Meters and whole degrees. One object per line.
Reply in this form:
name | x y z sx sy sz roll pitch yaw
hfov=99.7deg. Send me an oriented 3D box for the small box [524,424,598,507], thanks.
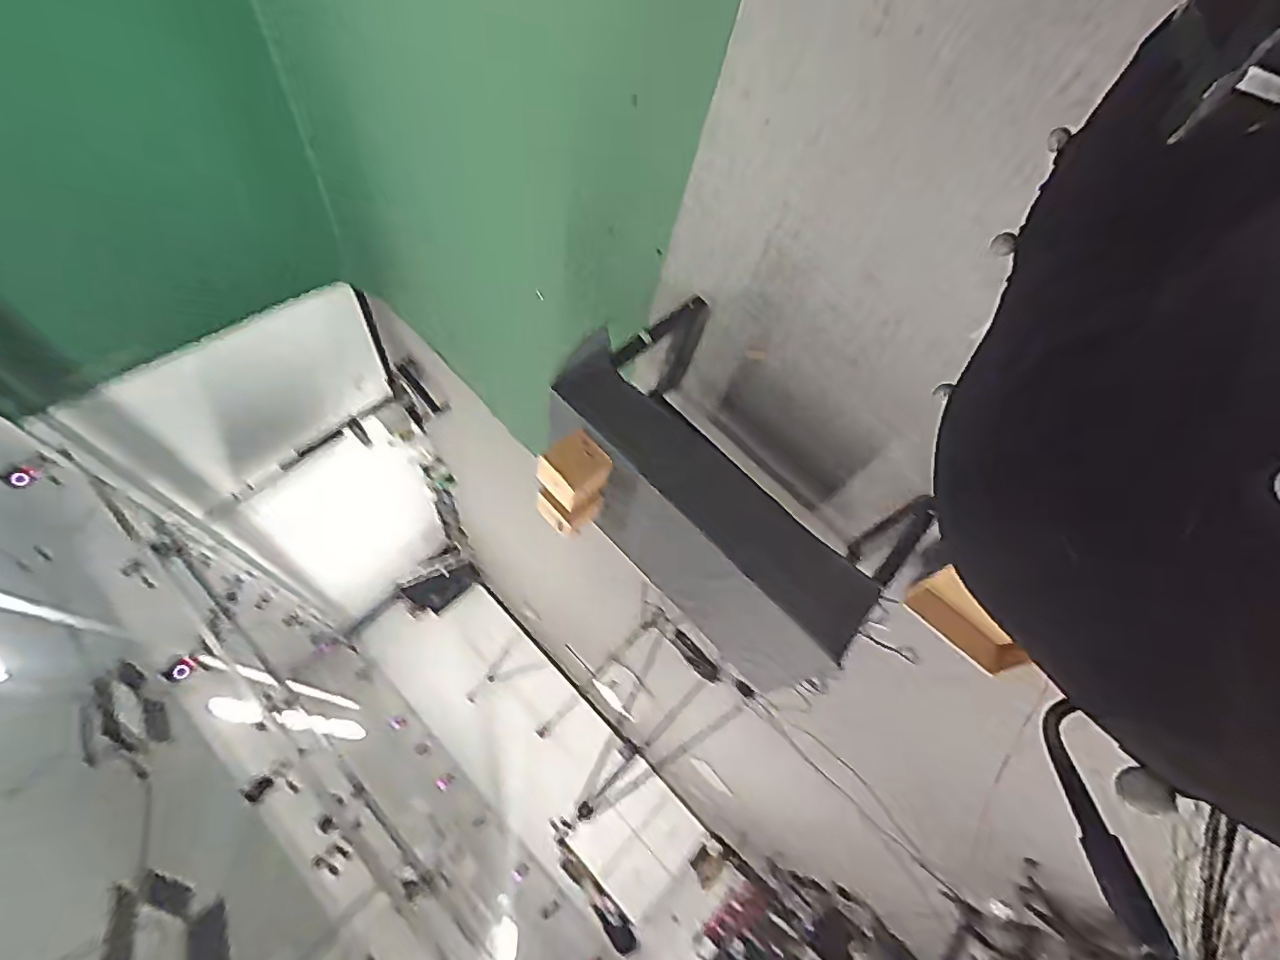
small box | -0.255 -0.047 1.757 0.168 0.176 0.179 45 153 8
